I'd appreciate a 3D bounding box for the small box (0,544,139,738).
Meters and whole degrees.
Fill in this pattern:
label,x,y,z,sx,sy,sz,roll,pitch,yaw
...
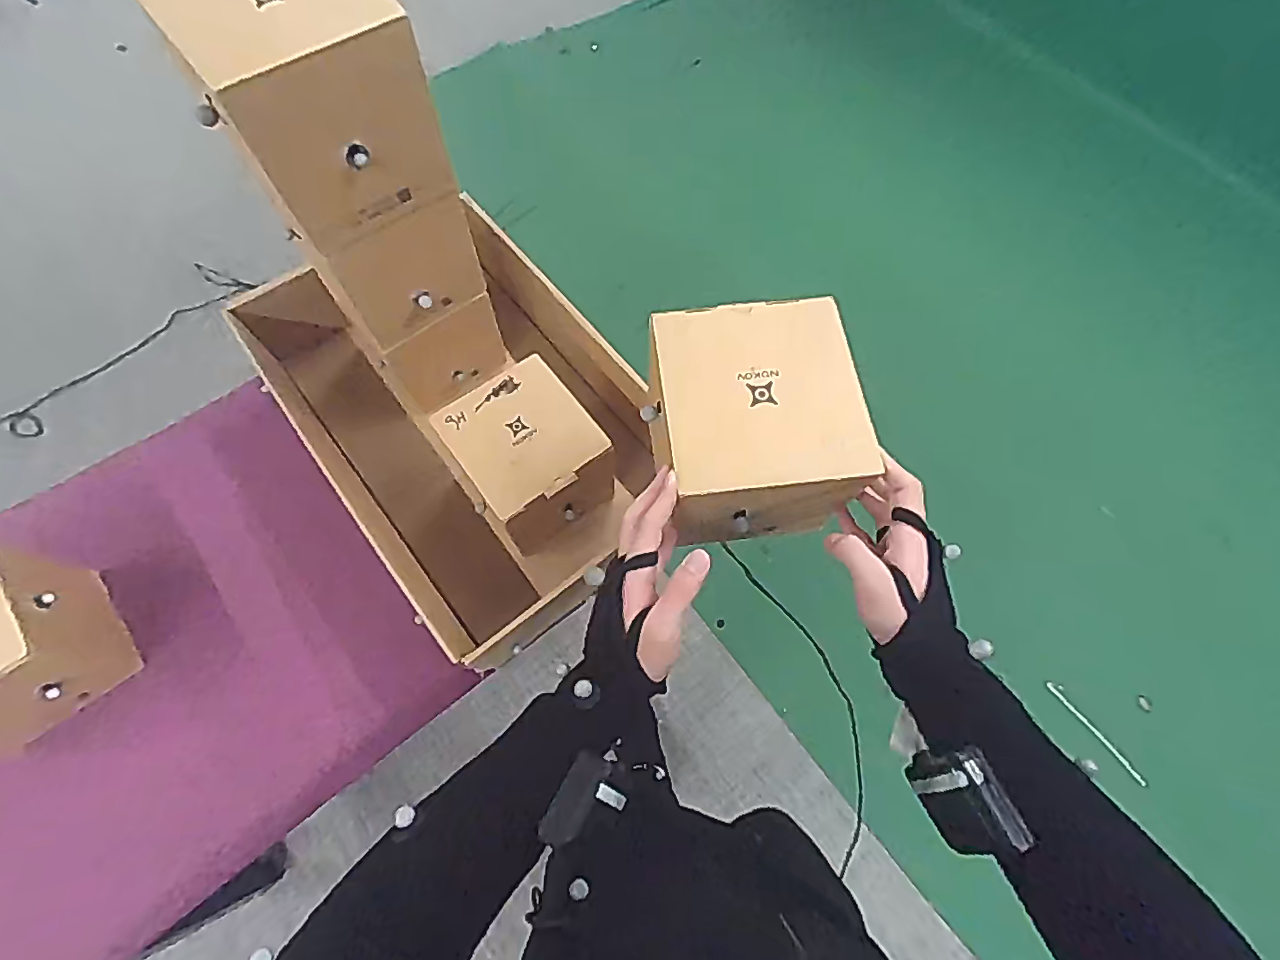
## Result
label,x,y,z,sx,sy,sz,roll,pitch,yaw
small box,-0.785,0.202,0.665,0.168,0.176,0.179,-36,74,-17

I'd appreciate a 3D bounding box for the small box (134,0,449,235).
label,x,y,z,sx,sy,sz,roll,pitch,yaw
small box,-0.310,-0.365,0.511,0.168,0.176,0.179,-37,76,-16

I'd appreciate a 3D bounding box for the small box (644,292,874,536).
label,x,y,z,sx,sy,sz,roll,pitch,yaw
small box,0.096,-0.050,0.523,0.168,0.176,0.179,-7,69,-2

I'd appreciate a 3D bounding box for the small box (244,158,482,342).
label,x,y,z,sx,sy,sz,roll,pitch,yaw
small box,-0.323,-0.308,0.666,0.168,0.176,0.179,-38,77,-15
